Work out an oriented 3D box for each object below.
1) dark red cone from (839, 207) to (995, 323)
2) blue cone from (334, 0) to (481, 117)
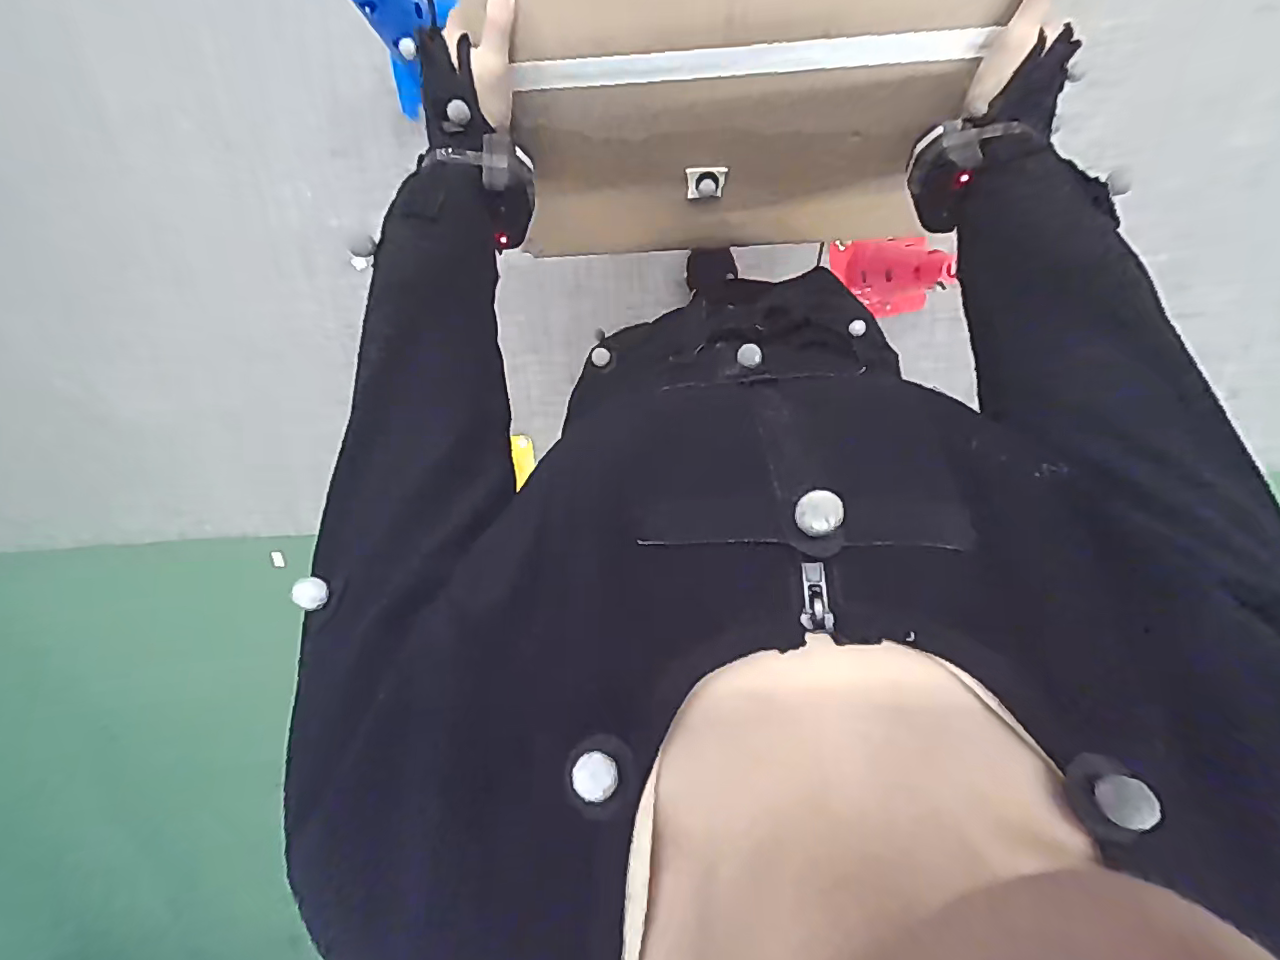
[{"bbox_3d":[0.512,-0.382,0.979,0.202,0.394,0.201,-11,111,8],"label":"dark red cone"},{"bbox_3d":[-0.436,-0.805,0.944,0.192,0.380,0.193,-3,109,6],"label":"blue cone"}]
